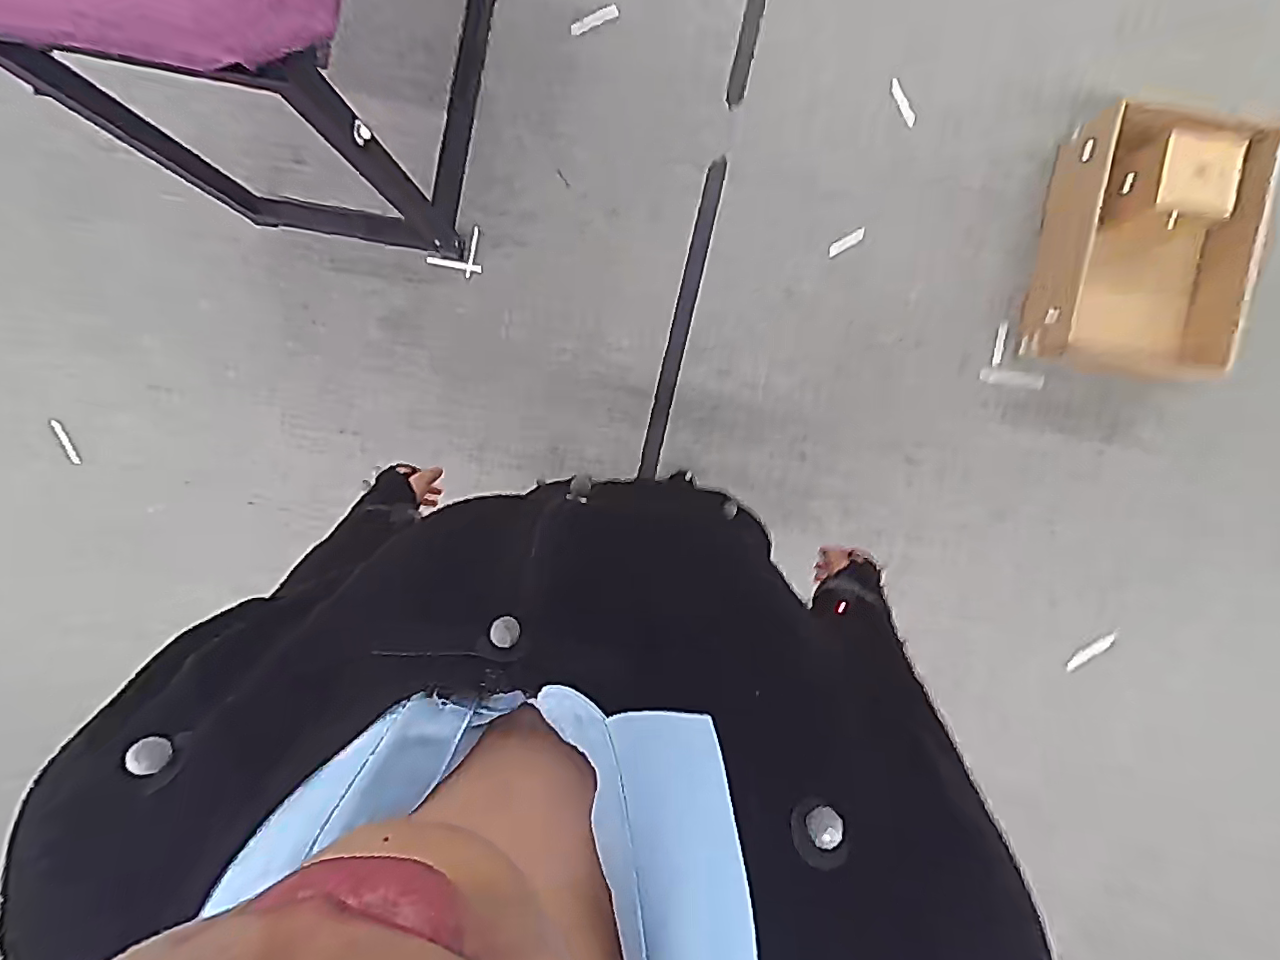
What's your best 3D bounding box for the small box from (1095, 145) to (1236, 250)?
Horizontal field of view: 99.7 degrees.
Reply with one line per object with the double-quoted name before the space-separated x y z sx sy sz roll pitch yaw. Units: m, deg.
"small box" 1.290 -0.690 1.341 0.179 0.176 0.168 10 93 0
